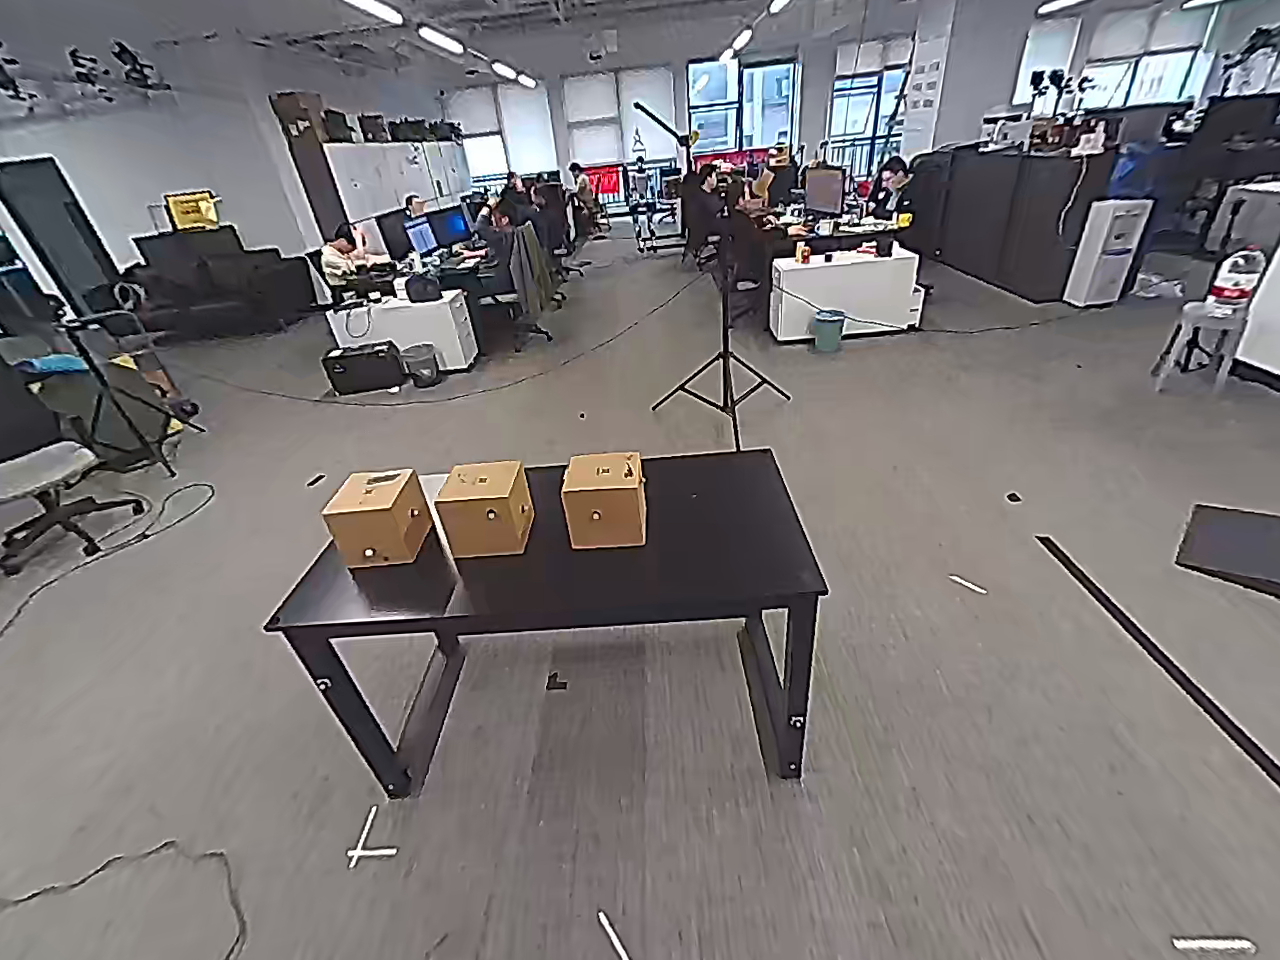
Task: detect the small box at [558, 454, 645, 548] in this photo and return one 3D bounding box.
[{"bbox_3d":[-0.087,0.053,1.319,0.179,0.176,0.168,-4,32,5],"label":"small box"}]

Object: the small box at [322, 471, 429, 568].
[{"bbox_3d":[-0.644,0.098,1.345,0.168,0.176,0.179,-6,33,1],"label":"small box"}]

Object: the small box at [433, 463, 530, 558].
[{"bbox_3d":[-0.379,0.075,1.333,0.179,0.176,0.168,-4,31,2],"label":"small box"}]
